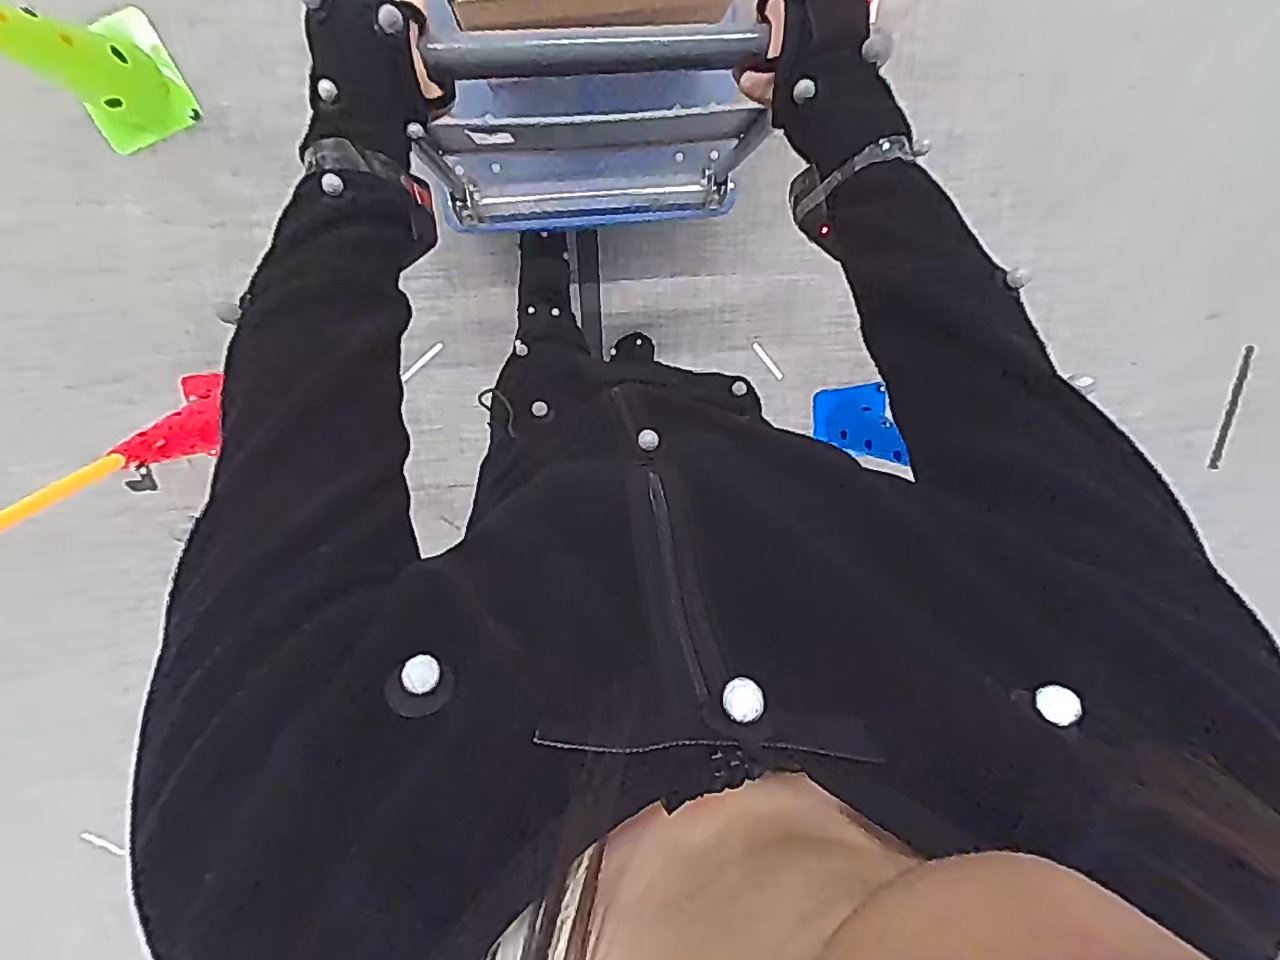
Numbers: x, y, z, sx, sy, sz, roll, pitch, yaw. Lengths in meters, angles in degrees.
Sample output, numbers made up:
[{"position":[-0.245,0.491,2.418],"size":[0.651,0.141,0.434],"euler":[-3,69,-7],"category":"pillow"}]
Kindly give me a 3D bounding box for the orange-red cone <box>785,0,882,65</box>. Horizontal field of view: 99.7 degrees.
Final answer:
[{"position":[0.432,-0.938,0.974],"size":[0.199,0.360,0.198],"euler":[2,110,-8],"category":"orange-red cone"}]

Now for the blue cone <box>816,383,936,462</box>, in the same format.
[{"position":[0.587,-0.105,1.309],"size":[0.193,0.380,0.192],"euler":[-8,109,-4],"category":"blue cone"}]
